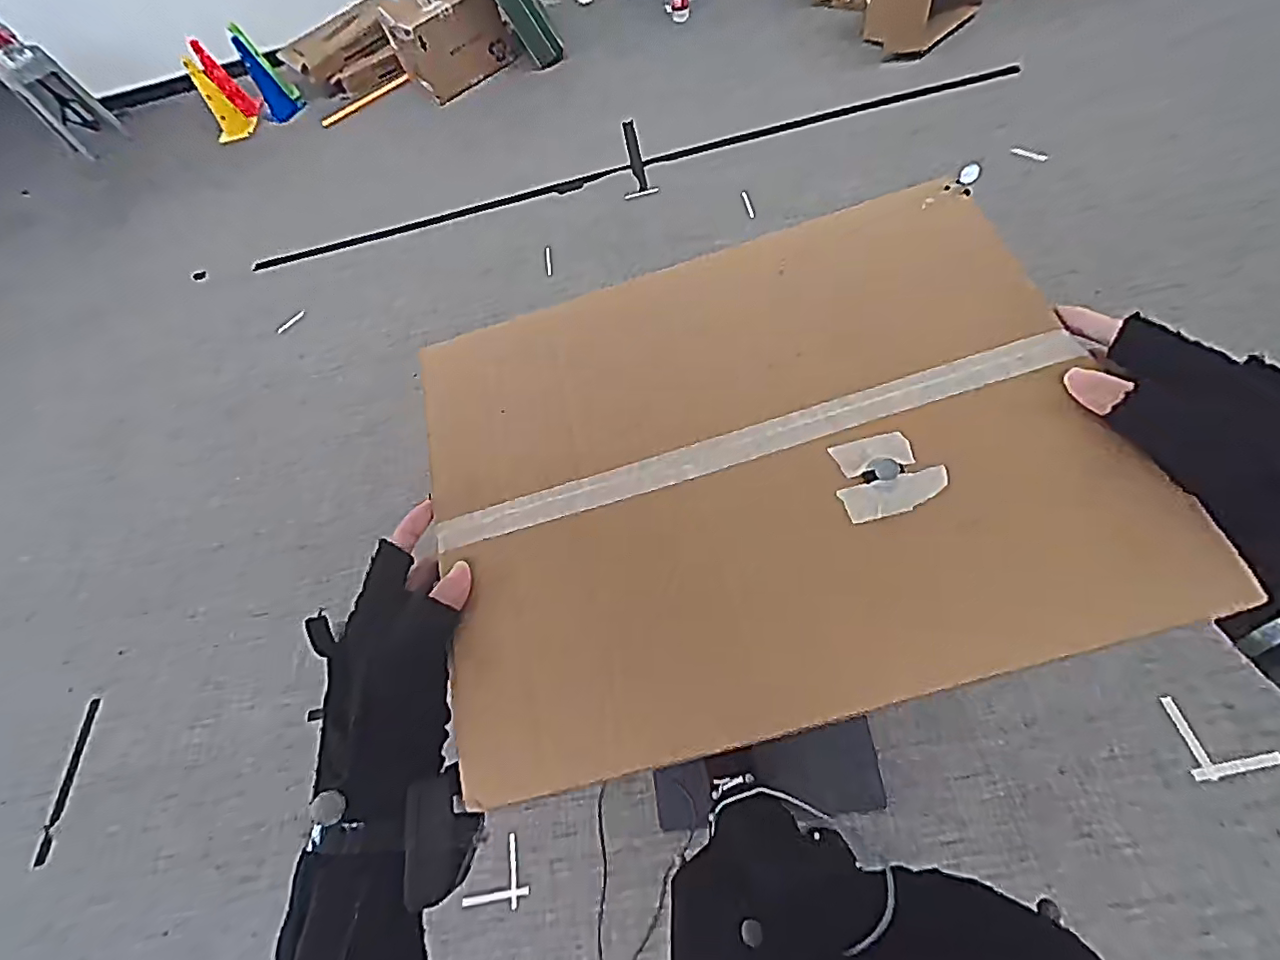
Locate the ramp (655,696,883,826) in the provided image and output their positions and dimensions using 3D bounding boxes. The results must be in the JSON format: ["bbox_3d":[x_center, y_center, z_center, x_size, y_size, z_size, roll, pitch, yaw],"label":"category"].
[{"bbox_3d":[0.223,0.260,1.332,0.509,0.206,0.991,-11,62,4],"label":"ramp"}]

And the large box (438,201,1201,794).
[{"bbox_3d":[0.090,0.040,0.485,0.408,0.320,0.320,-17,66,3],"label":"large box"}]
